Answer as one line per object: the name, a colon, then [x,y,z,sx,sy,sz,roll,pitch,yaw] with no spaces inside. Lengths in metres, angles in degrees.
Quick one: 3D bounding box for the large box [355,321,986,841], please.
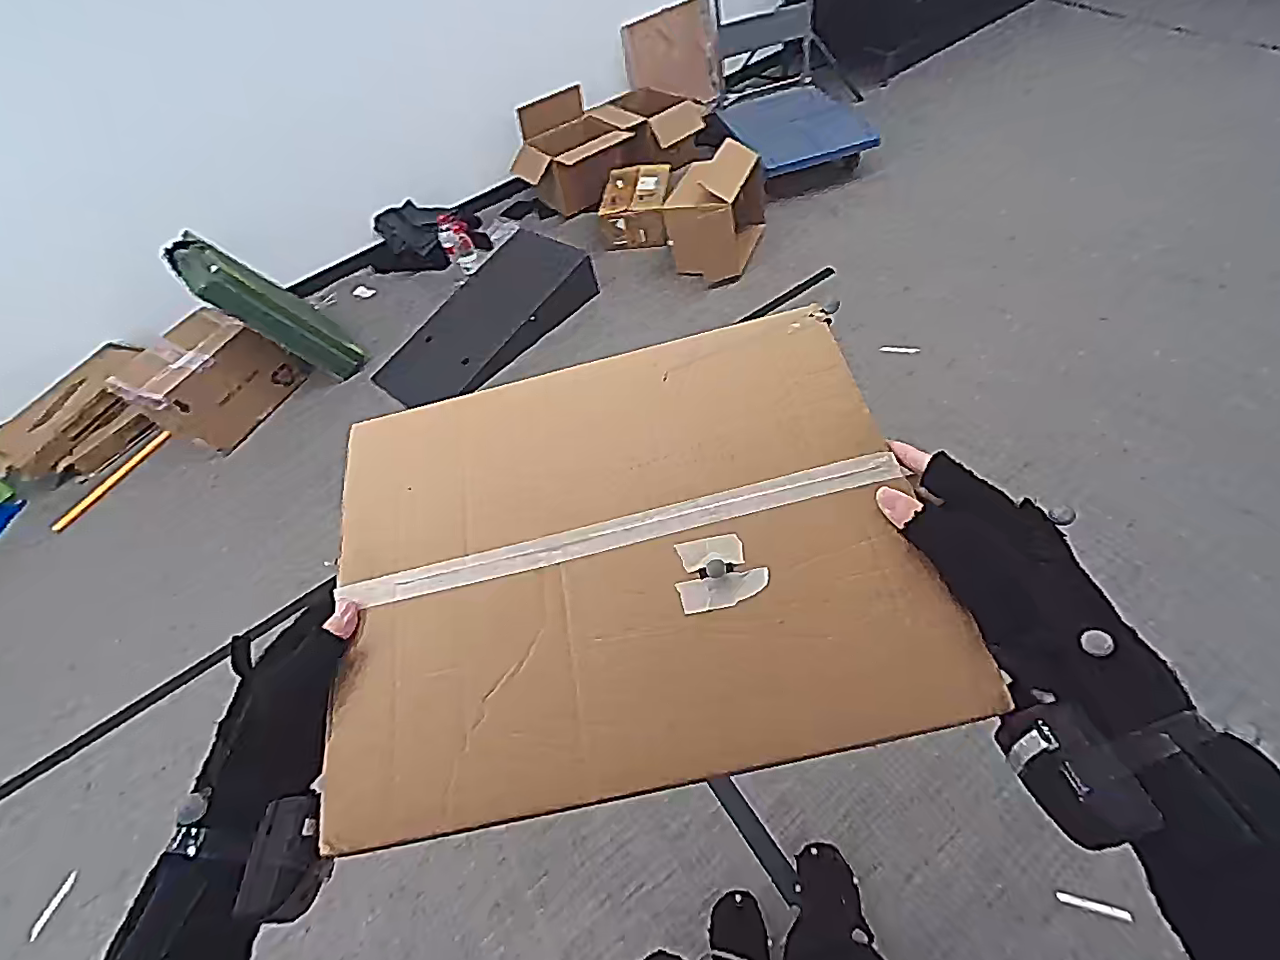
large box: [0.007,0.111,0.526,0.408,0.320,0.320,-14,62,2]
